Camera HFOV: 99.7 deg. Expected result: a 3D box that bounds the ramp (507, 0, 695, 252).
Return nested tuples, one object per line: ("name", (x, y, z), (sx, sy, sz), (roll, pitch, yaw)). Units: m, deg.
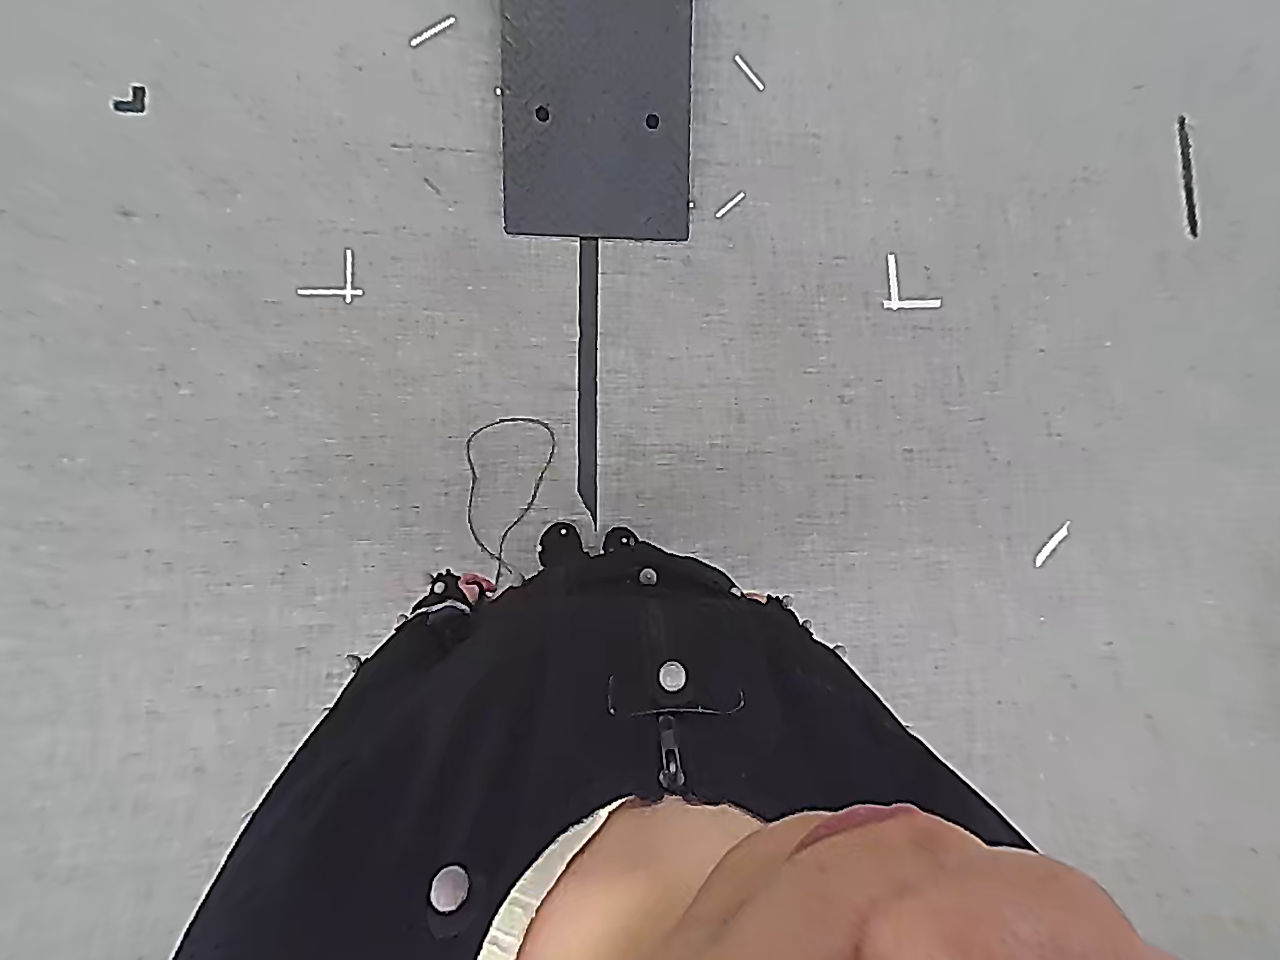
("ramp", (-0.095, -1.117, 1.410), (0.509, 0.206, 0.991), (-3, 86, -7))
